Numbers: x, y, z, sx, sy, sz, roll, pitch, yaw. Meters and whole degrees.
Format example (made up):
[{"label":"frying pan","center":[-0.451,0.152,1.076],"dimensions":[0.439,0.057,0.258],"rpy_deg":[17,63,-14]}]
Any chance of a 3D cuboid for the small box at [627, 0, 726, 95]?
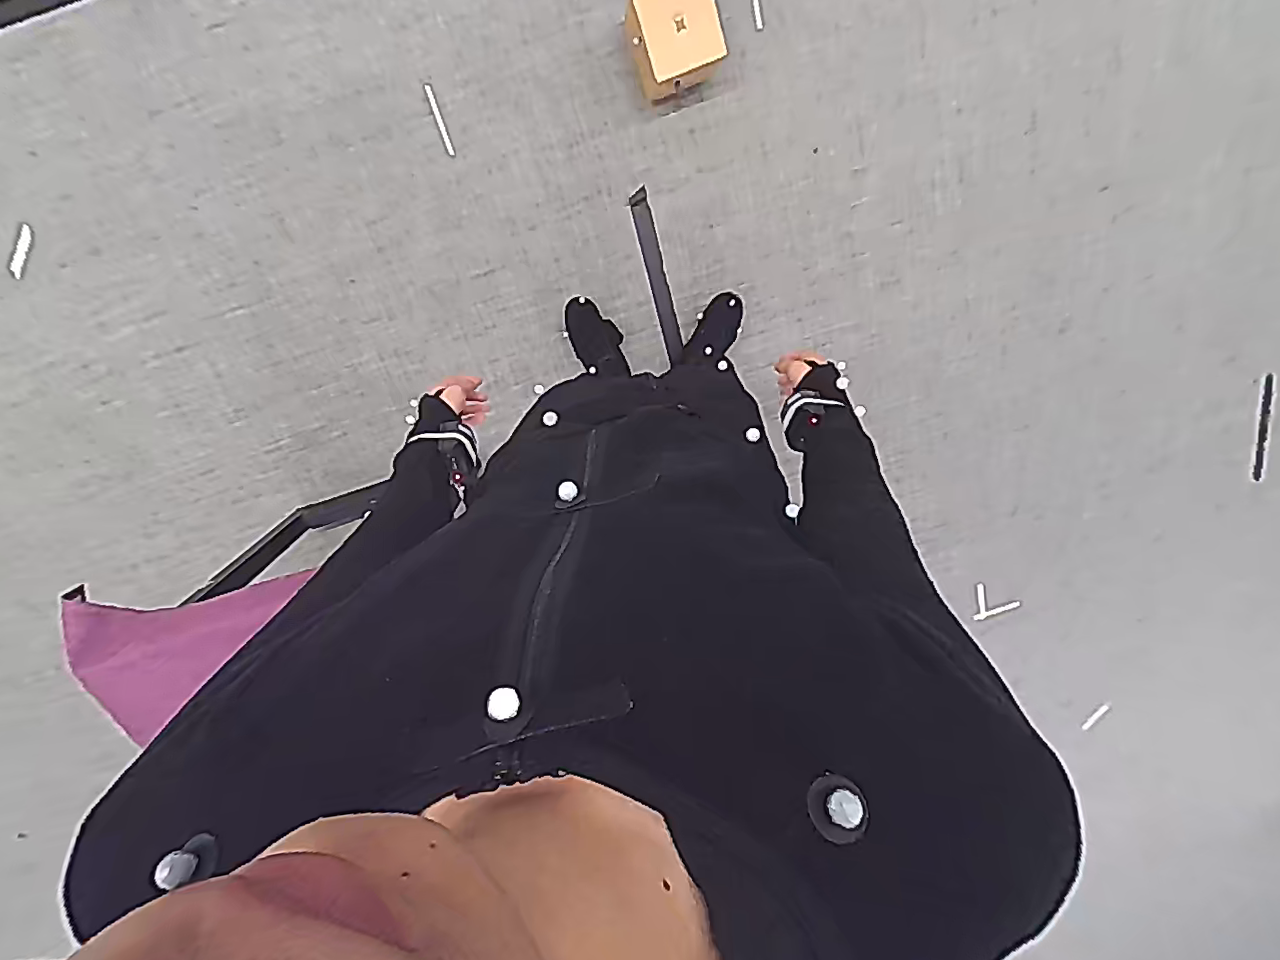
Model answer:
[{"label":"small box","center":[0.077,-0.997,1.209],"dimensions":[0.168,0.176,0.179],"rpy_deg":[-21,112,3]}]
